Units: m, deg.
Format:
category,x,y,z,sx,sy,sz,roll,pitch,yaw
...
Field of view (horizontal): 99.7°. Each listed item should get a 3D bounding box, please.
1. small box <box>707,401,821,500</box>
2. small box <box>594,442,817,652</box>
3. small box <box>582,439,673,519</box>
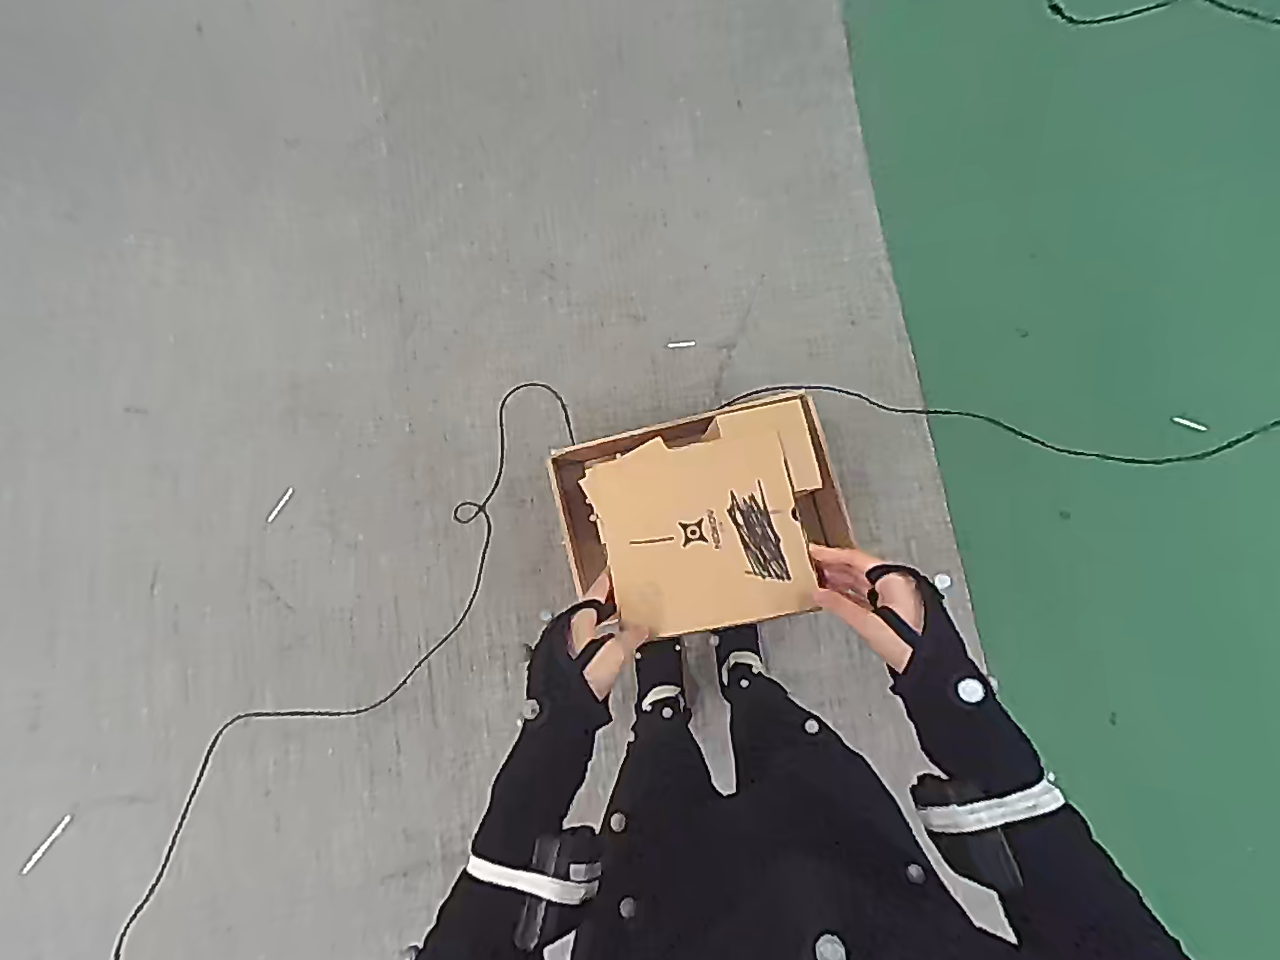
category,x,y,z,sx,sy,sz,roll,pitch,yaw
small box,0.237,-0.040,1.083,0.168,0.176,0.179,-12,83,-2
small box,0.061,0.078,0.559,0.179,0.176,0.168,-11,72,3
small box,0.000,0.041,1.071,0.179,0.176,0.168,-29,84,-6
